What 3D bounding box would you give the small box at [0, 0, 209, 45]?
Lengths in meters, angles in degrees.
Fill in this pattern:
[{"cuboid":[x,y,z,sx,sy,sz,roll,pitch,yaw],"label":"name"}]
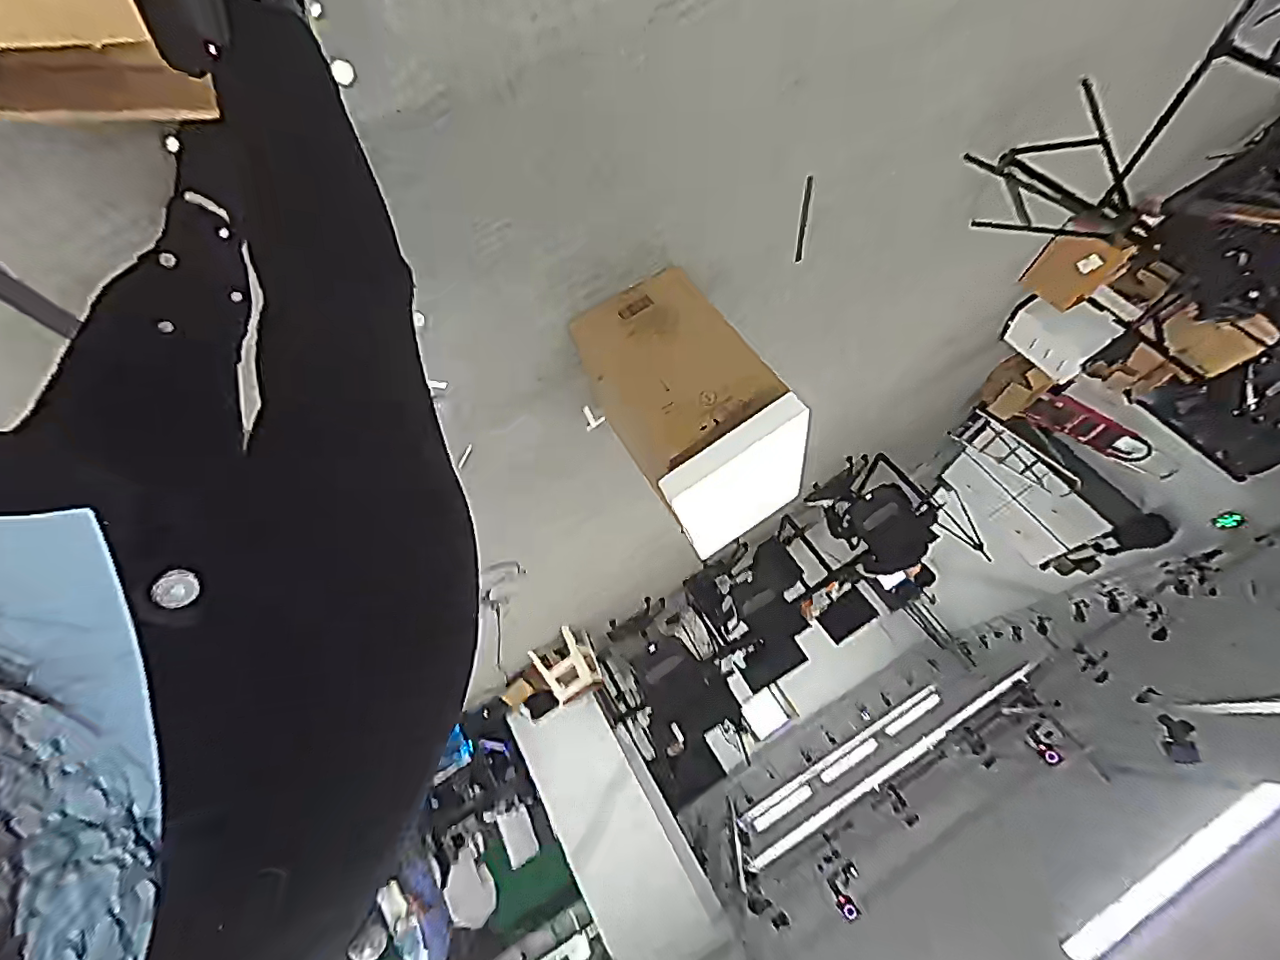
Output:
[{"cuboid":[-0.540,-0.523,0.487,0.179,0.176,0.168,-24,152,-24],"label":"small box"}]
